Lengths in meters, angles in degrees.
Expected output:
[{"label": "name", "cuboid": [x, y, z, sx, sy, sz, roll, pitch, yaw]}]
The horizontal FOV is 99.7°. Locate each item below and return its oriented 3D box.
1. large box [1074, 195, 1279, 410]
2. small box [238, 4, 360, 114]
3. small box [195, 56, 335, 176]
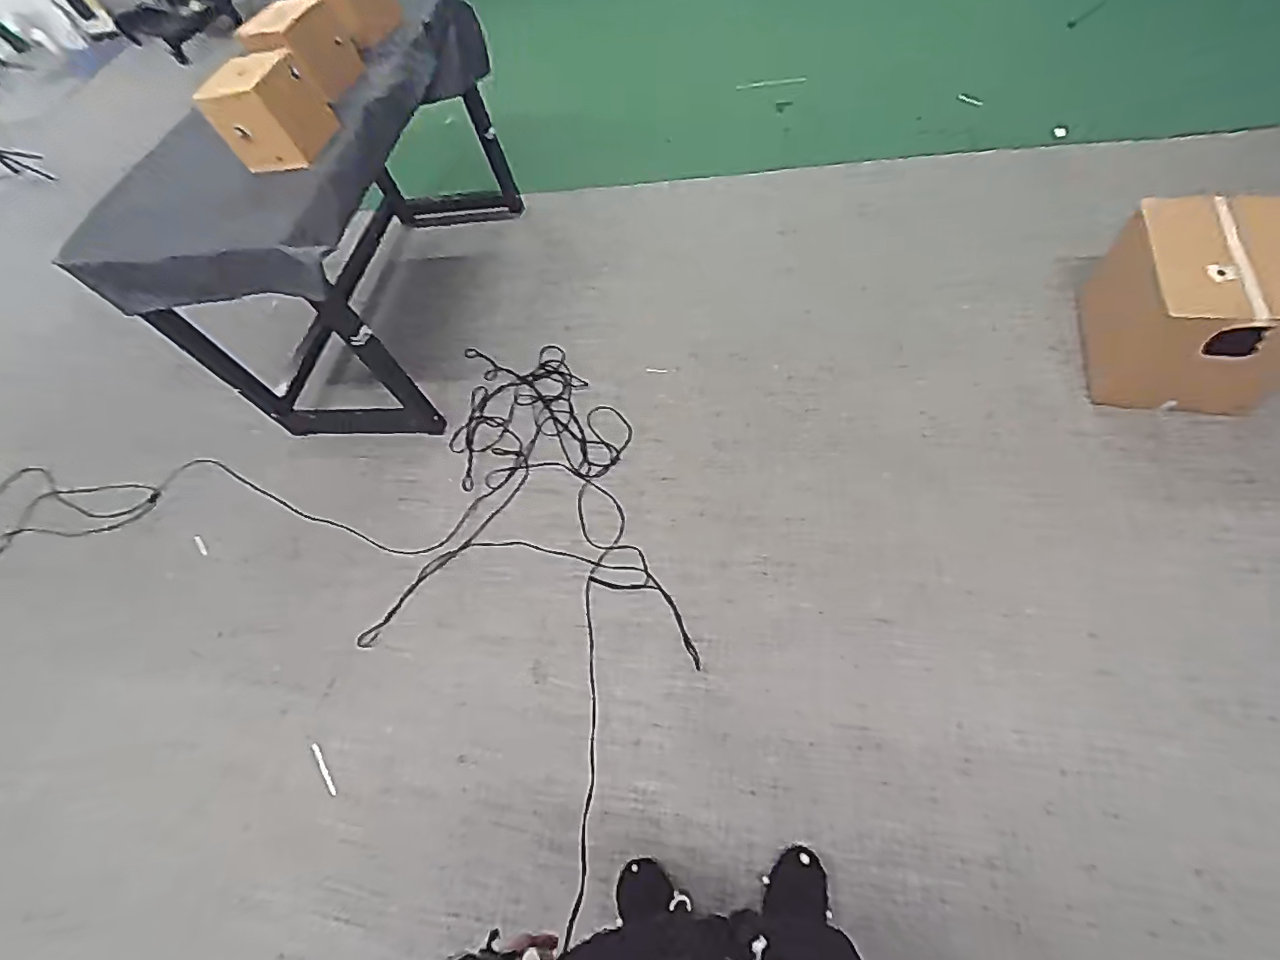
[{"label": "large box", "cuboid": [1.342, -0.432, 1.329, 0.320, 0.320, 0.408, 7, 64, 16]}, {"label": "small box", "cuboid": [-0.864, -1.079, 1.393, 0.168, 0.176, 0.179, 9, 64, 19]}, {"label": "small box", "cuboid": [-0.846, -0.824, 1.242, 0.168, 0.176, 0.179, 1, 60, 14]}]
